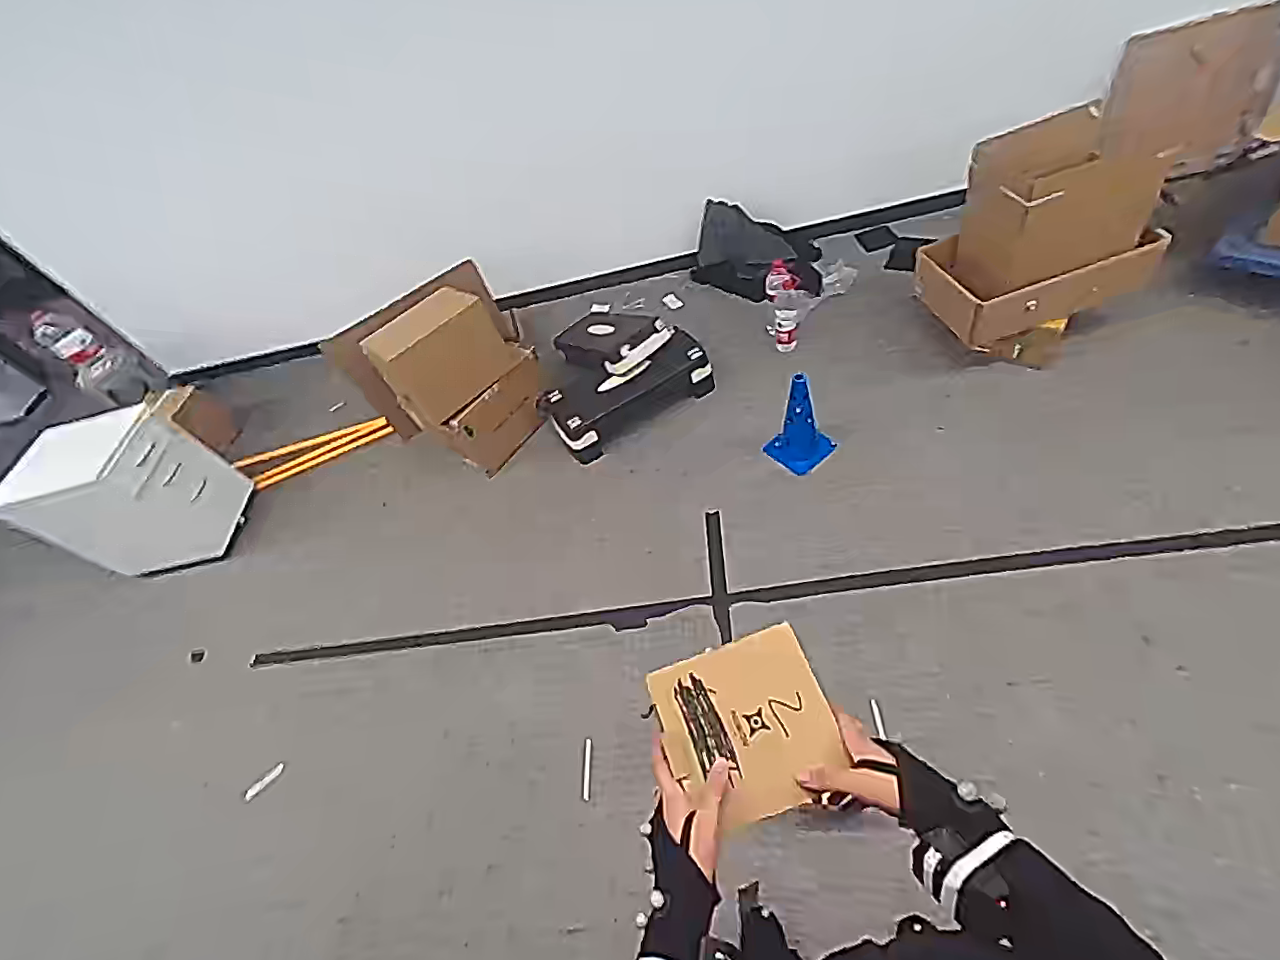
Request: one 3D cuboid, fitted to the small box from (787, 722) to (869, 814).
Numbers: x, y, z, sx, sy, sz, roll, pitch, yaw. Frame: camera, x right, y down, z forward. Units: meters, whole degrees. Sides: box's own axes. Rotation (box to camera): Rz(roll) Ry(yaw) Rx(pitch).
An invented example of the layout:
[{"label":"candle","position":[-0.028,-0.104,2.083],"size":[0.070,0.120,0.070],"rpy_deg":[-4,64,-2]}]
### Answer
[{"label":"small box","position":[0.454,0.705,1.320],"size":[0.168,0.176,0.179],"rpy_deg":[-5,52,13]}]
